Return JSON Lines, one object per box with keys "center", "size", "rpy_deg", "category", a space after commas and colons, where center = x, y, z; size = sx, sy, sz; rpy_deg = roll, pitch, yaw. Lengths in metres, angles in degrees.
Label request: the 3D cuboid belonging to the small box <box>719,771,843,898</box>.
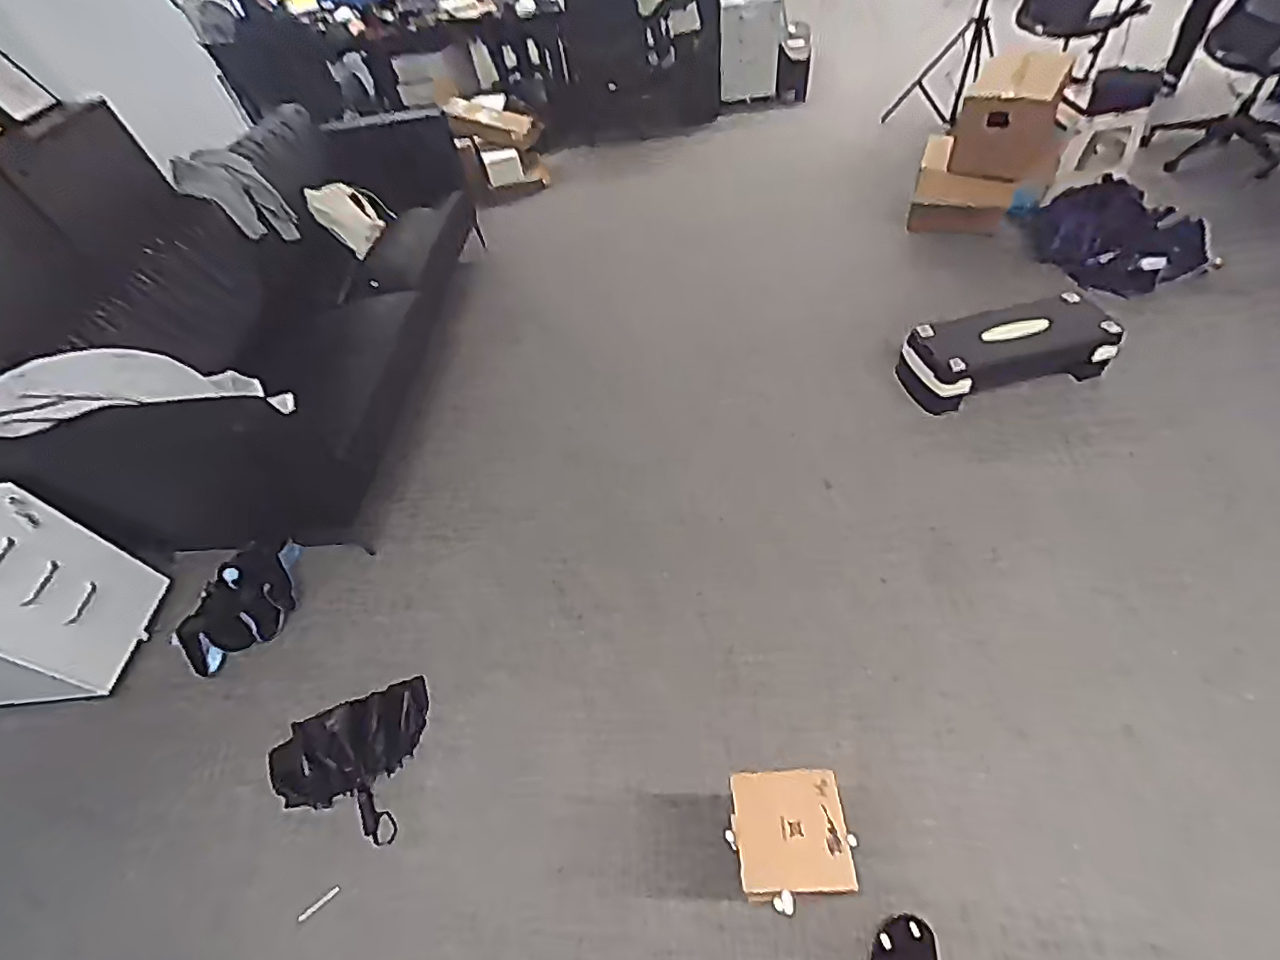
{"center": [0.234, 0.612, 0.930], "size": [0.179, 0.176, 0.168], "rpy_deg": [-5, 51, 6], "category": "small box"}
